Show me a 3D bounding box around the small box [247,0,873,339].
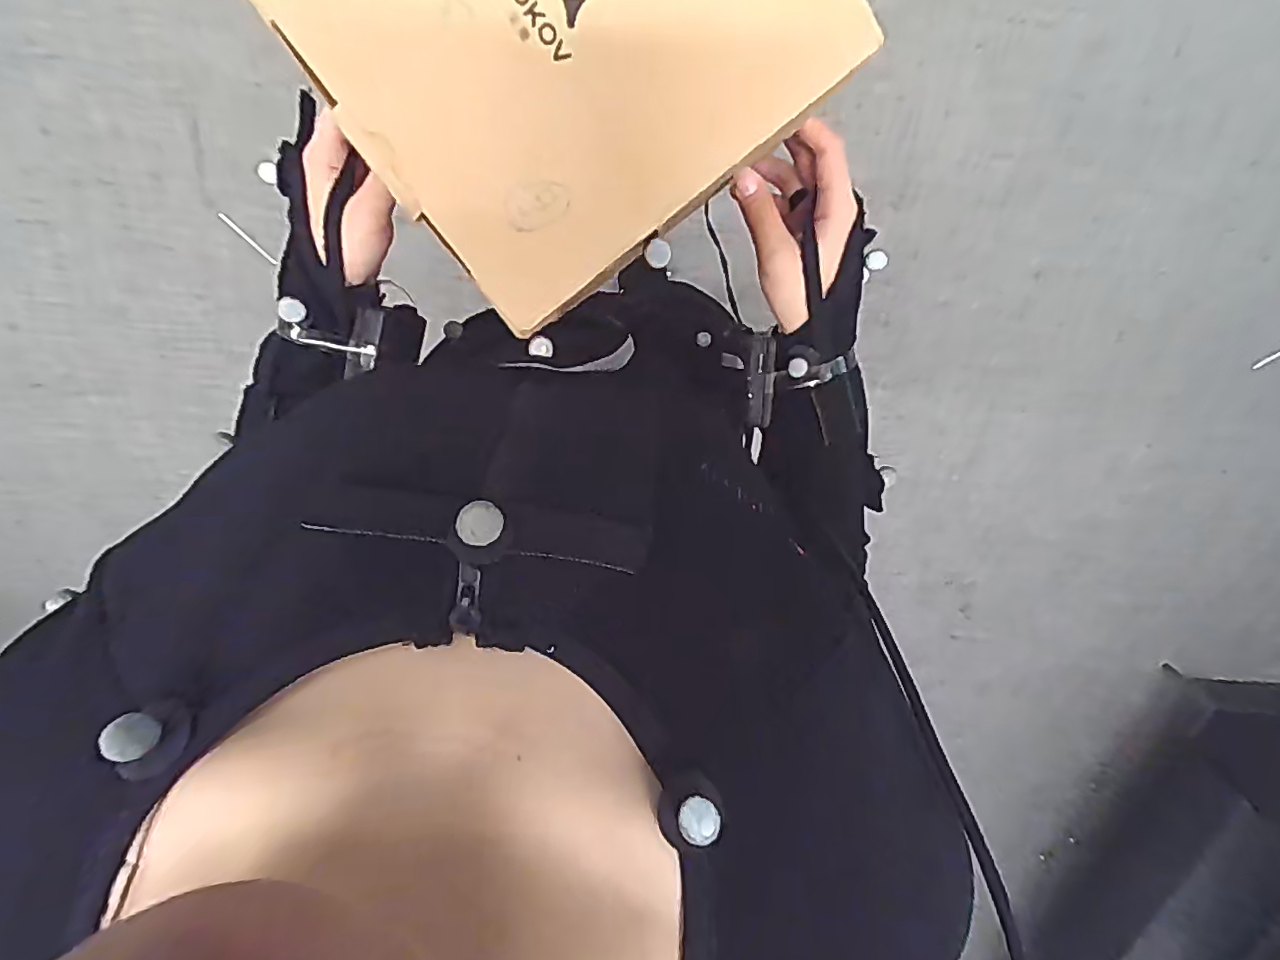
[{"bbox_3d":[-0.029,-0.193,0.267,0.179,0.176,0.168,-34,107,12],"label":"small box"}]
